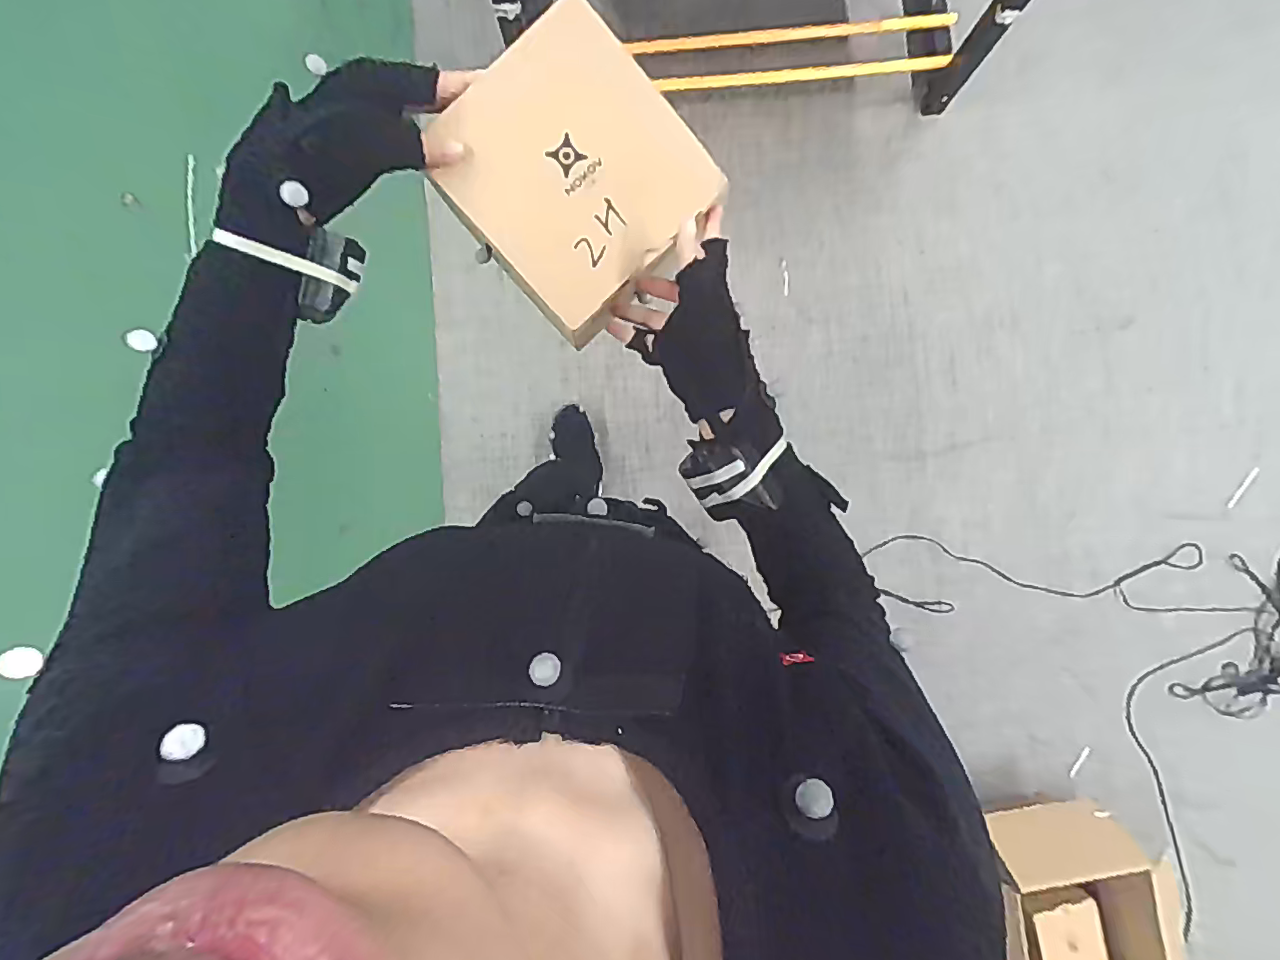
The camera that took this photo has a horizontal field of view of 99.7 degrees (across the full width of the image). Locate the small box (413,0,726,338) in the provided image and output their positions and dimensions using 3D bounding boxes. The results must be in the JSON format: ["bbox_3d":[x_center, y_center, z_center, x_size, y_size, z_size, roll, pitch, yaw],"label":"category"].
[{"bbox_3d":[-0.057,-0.247,0.479,0.168,0.176,0.179,-43,100,3],"label":"small box"}]
